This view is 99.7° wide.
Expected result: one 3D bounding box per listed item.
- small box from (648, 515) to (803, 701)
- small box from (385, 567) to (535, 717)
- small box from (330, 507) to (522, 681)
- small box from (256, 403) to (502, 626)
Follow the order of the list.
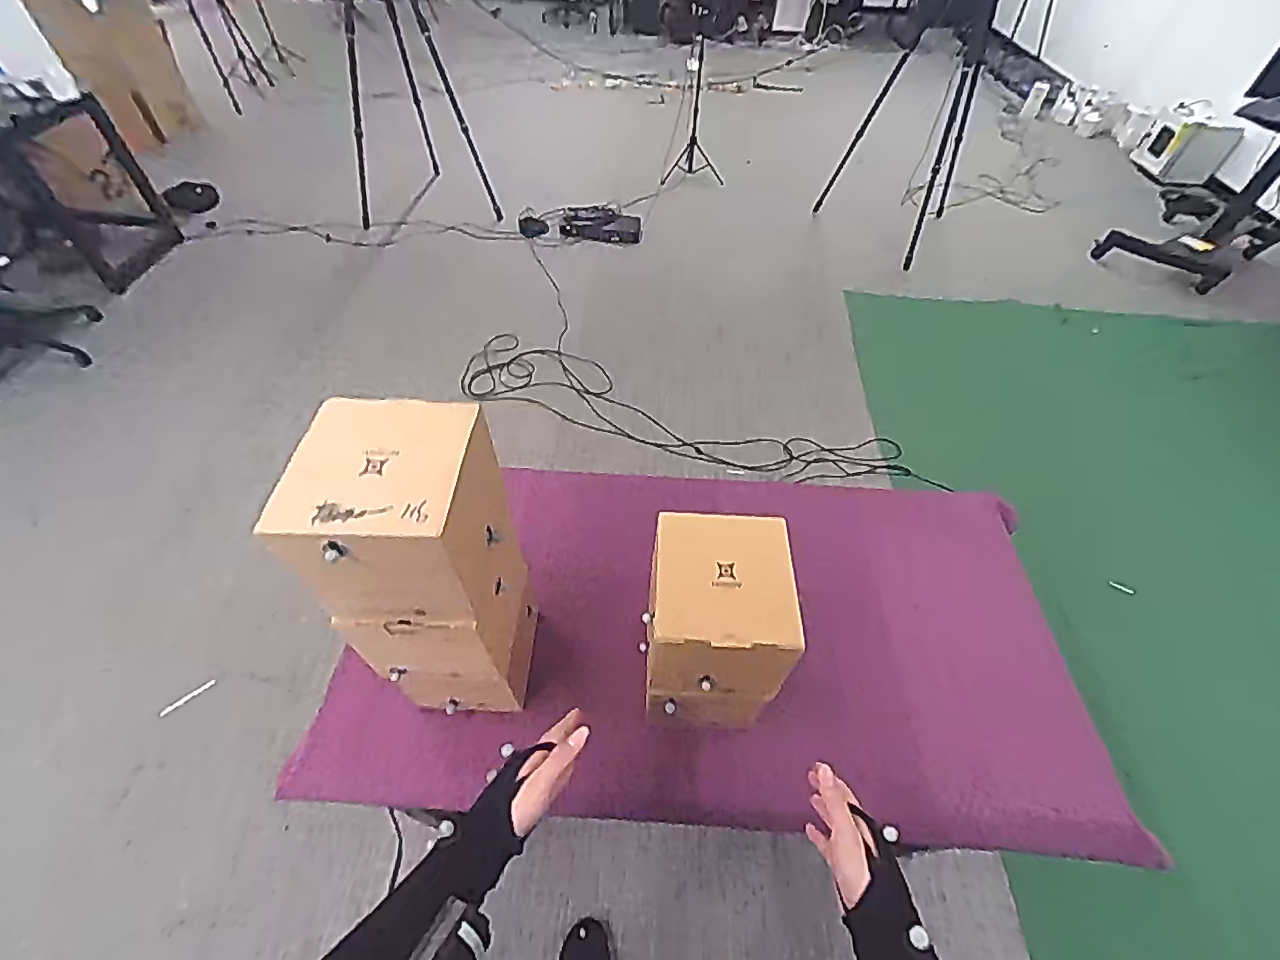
[{"bbox_3d":[0.098,0.167,0.701,0.168,0.176,0.179,3,50,0],"label":"small box"},{"bbox_3d":[-0.262,0.247,0.836,0.168,0.176,0.179,2,51,0],"label":"small box"},{"bbox_3d":[-0.258,0.149,0.705,0.168,0.176,0.179,2,49,1],"label":"small box"},{"bbox_3d":[-0.254,0.038,0.584,0.168,0.176,0.179,1,49,0],"label":"small box"}]
